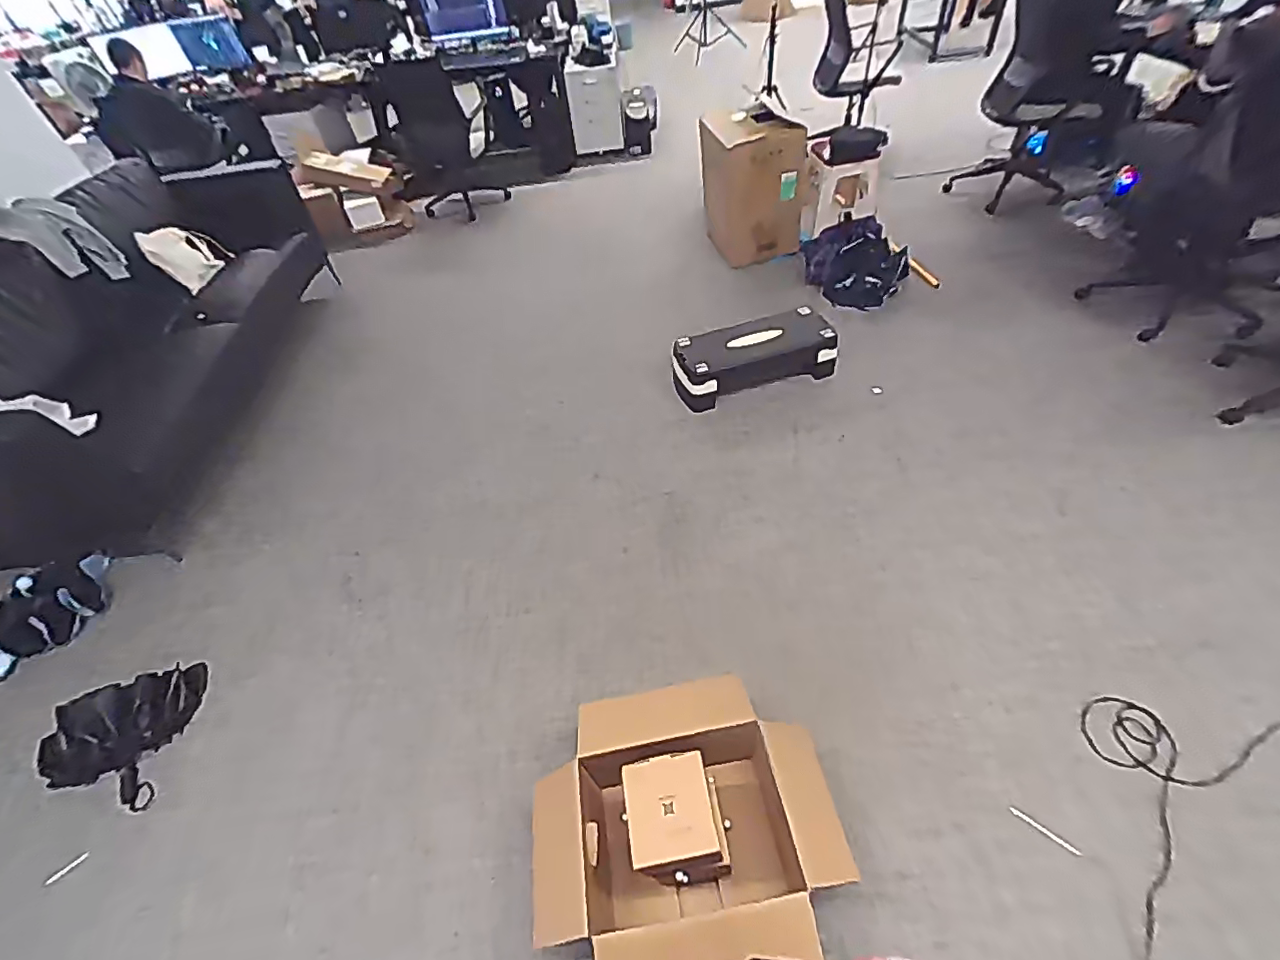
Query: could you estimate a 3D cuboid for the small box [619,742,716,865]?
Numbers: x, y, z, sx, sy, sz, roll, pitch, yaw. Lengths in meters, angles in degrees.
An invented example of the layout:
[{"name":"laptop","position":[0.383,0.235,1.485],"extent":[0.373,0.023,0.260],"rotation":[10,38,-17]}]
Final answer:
[{"name":"small box","position":[0.057,0.665,1.110],"extent":[0.168,0.176,0.179],"rotation":[-12,50,1]}]
